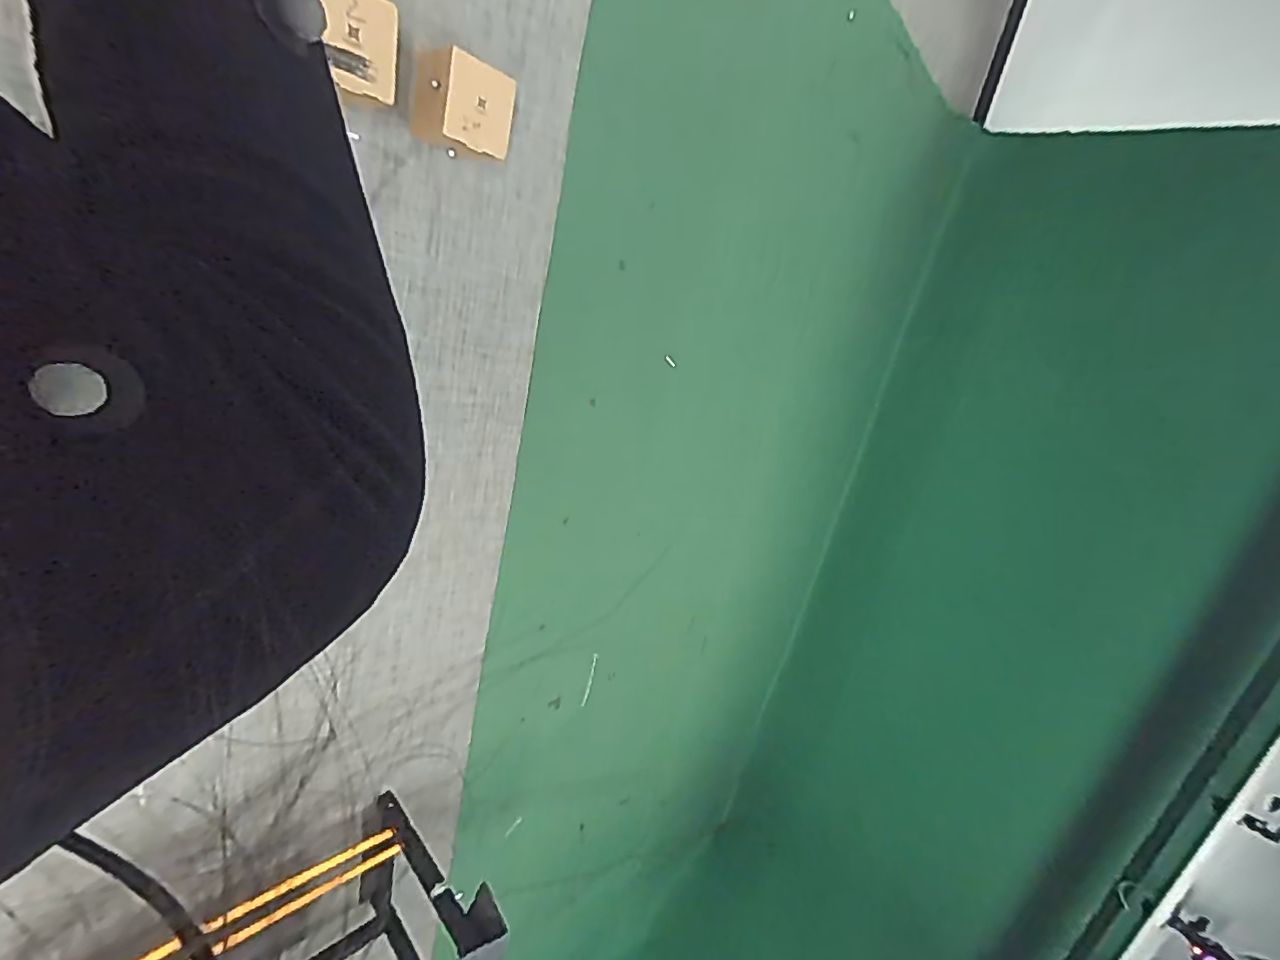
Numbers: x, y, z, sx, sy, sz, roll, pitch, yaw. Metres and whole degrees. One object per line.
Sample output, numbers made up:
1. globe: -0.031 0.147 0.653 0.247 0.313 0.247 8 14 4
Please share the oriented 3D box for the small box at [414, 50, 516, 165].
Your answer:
1. small box: -0.426 -0.885 1.302 0.168 0.176 0.179 -4 114 -47
